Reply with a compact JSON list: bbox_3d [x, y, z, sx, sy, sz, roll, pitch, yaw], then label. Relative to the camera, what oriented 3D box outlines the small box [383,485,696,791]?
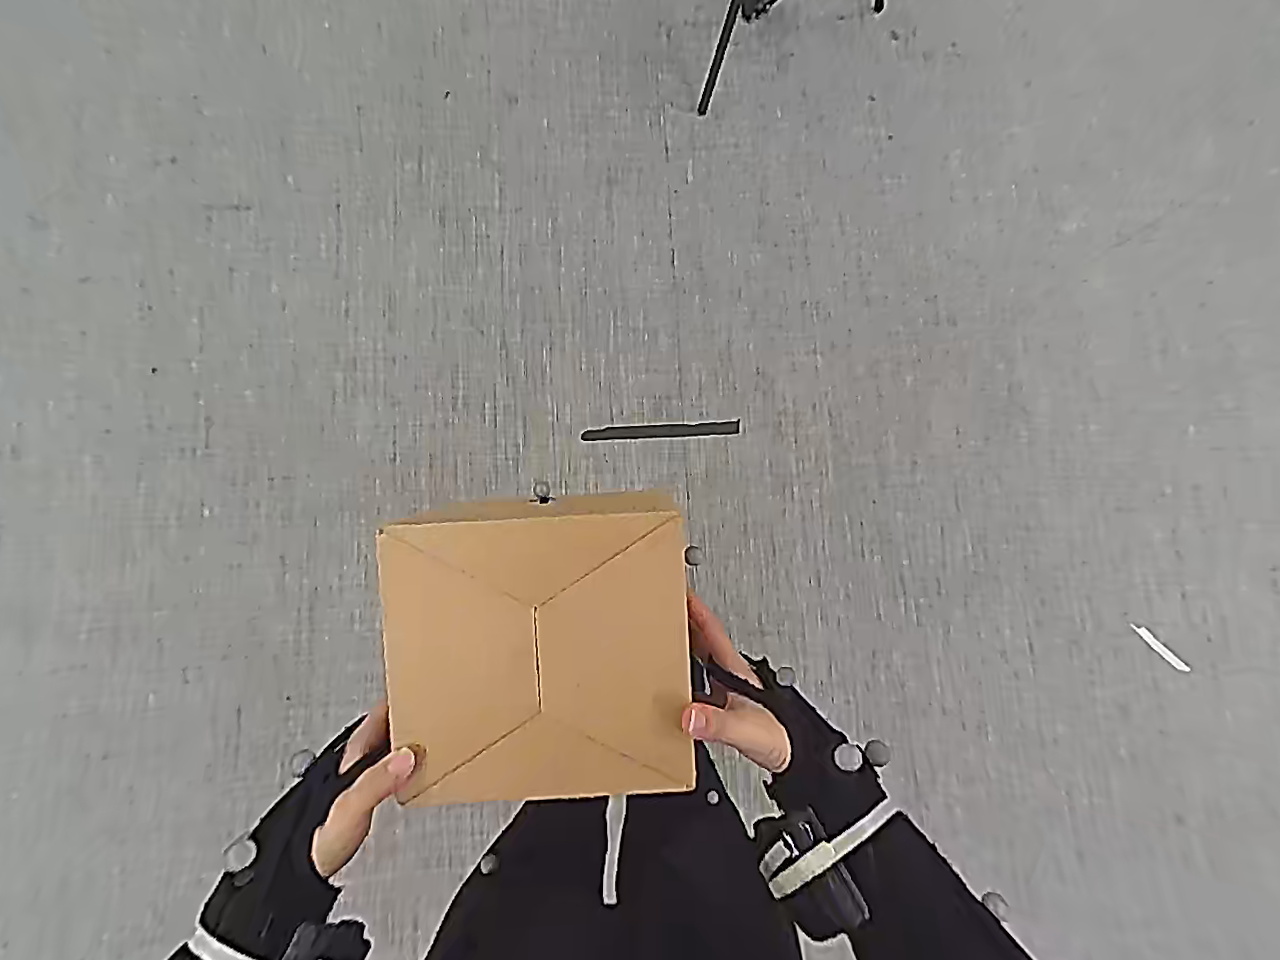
[{"bbox_3d":[-0.056,0.095,0.392,0.179,0.176,0.168,-3,93,-1],"label":"small box"}]
